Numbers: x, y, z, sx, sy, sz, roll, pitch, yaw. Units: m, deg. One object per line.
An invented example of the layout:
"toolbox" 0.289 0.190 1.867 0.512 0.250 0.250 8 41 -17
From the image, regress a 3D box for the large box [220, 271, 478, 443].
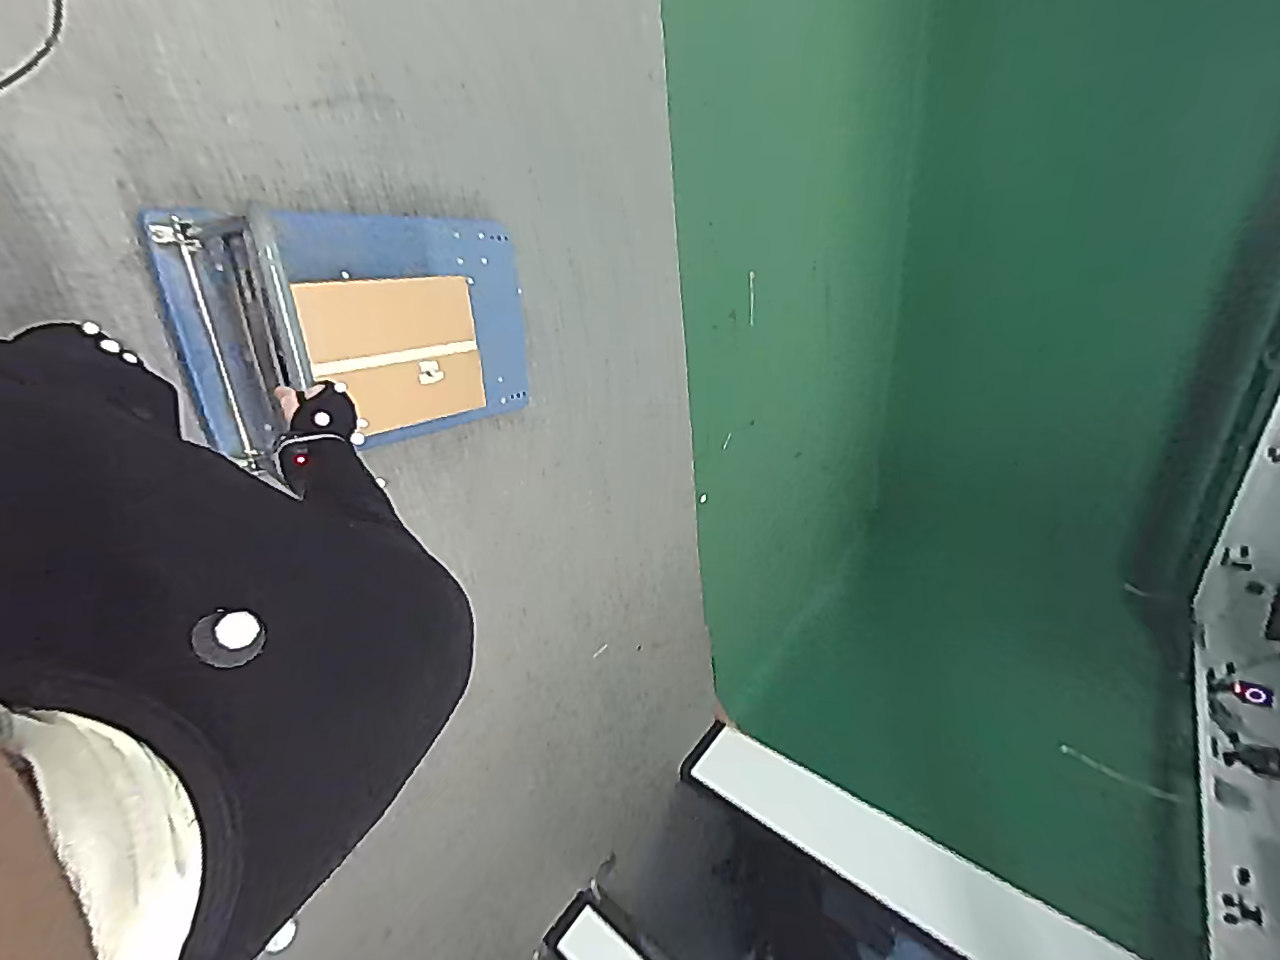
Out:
"large box" -0.657 -0.306 1.262 0.408 0.320 0.320 -26 122 -44
